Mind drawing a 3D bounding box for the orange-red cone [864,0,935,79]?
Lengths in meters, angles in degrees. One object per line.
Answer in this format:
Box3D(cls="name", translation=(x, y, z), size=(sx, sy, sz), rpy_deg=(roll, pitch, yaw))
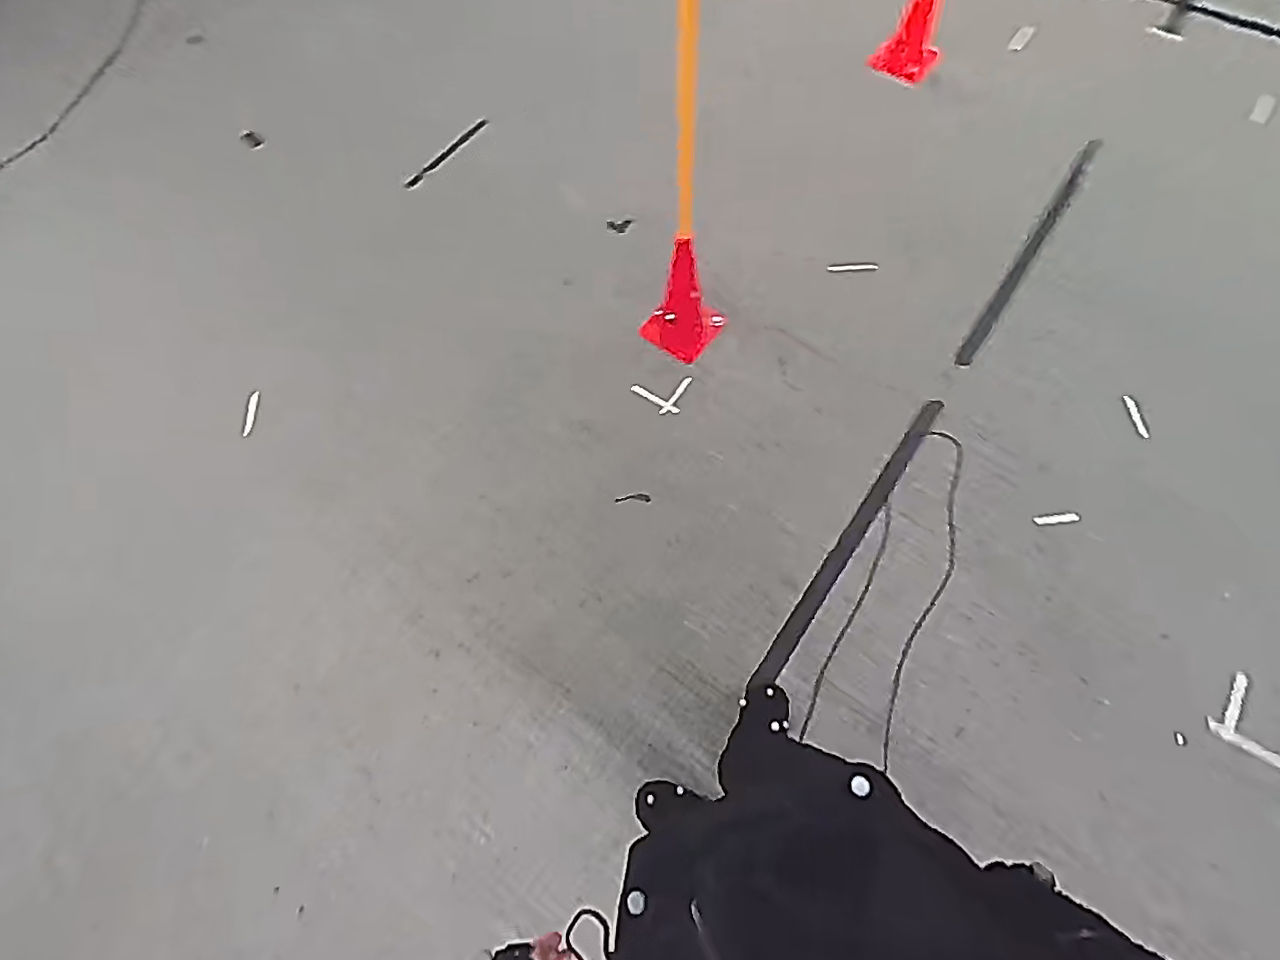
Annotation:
Box3D(cls="orange-red cone", translation=(0.934, -1.606, 1.807), size=(0.198, 0.360, 0.199), rpy_deg=(36, 75, 15))
